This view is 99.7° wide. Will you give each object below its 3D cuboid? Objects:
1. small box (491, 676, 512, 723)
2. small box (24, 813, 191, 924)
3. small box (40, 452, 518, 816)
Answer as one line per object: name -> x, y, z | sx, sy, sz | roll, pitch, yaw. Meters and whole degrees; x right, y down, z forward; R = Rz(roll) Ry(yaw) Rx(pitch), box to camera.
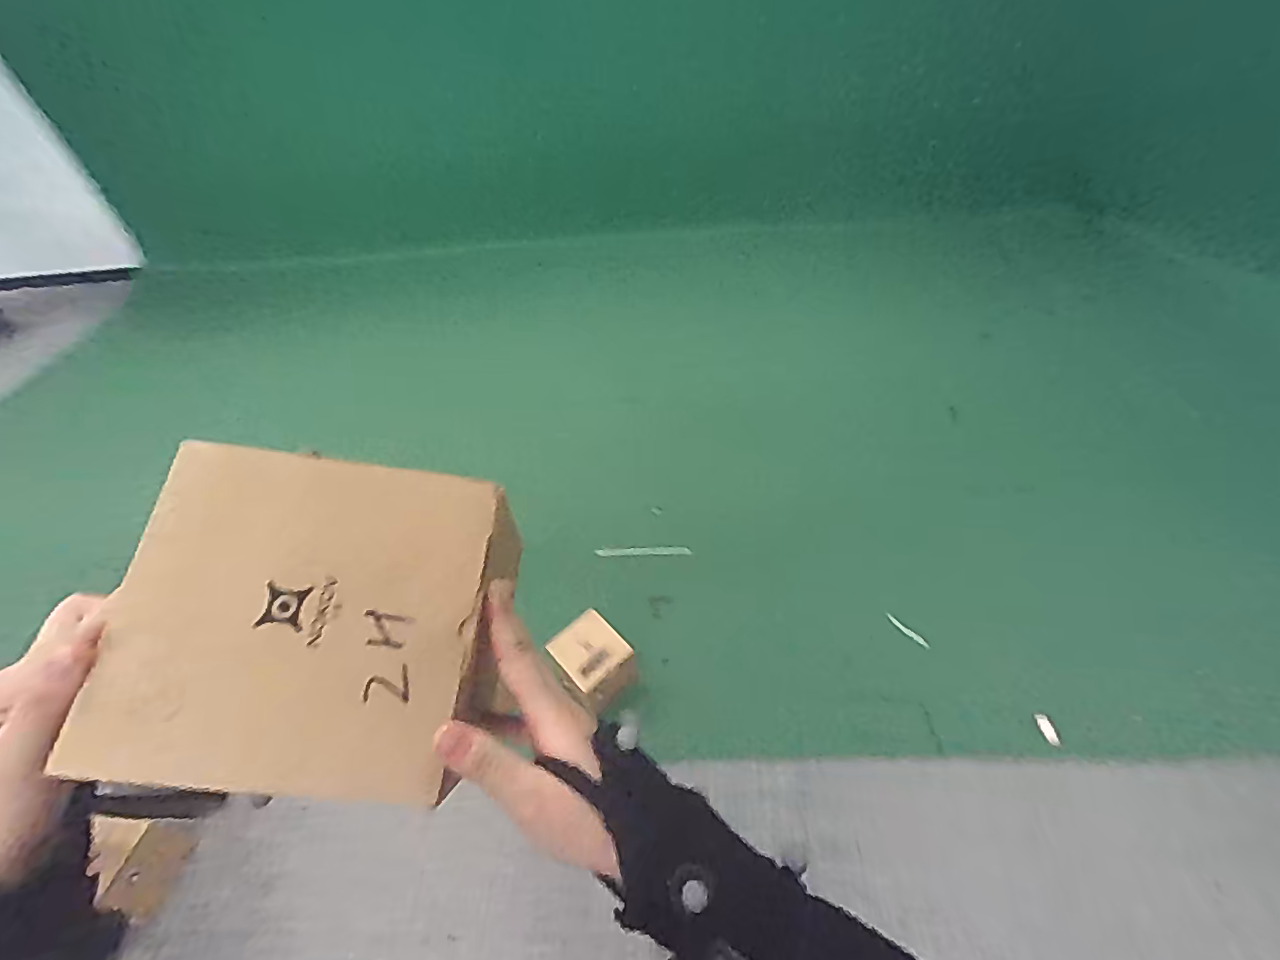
small box -> -0.468, 0.561, 1.457 | 0.168, 0.176, 0.179 | -29, 51, -20
small box -> -1.187, 0.884, 1.227 | 0.168, 0.176, 0.179 | 2, 46, 7
small box -> -0.184, 0.095, 0.347 | 0.179, 0.176, 0.168 | 7, 72, -6
